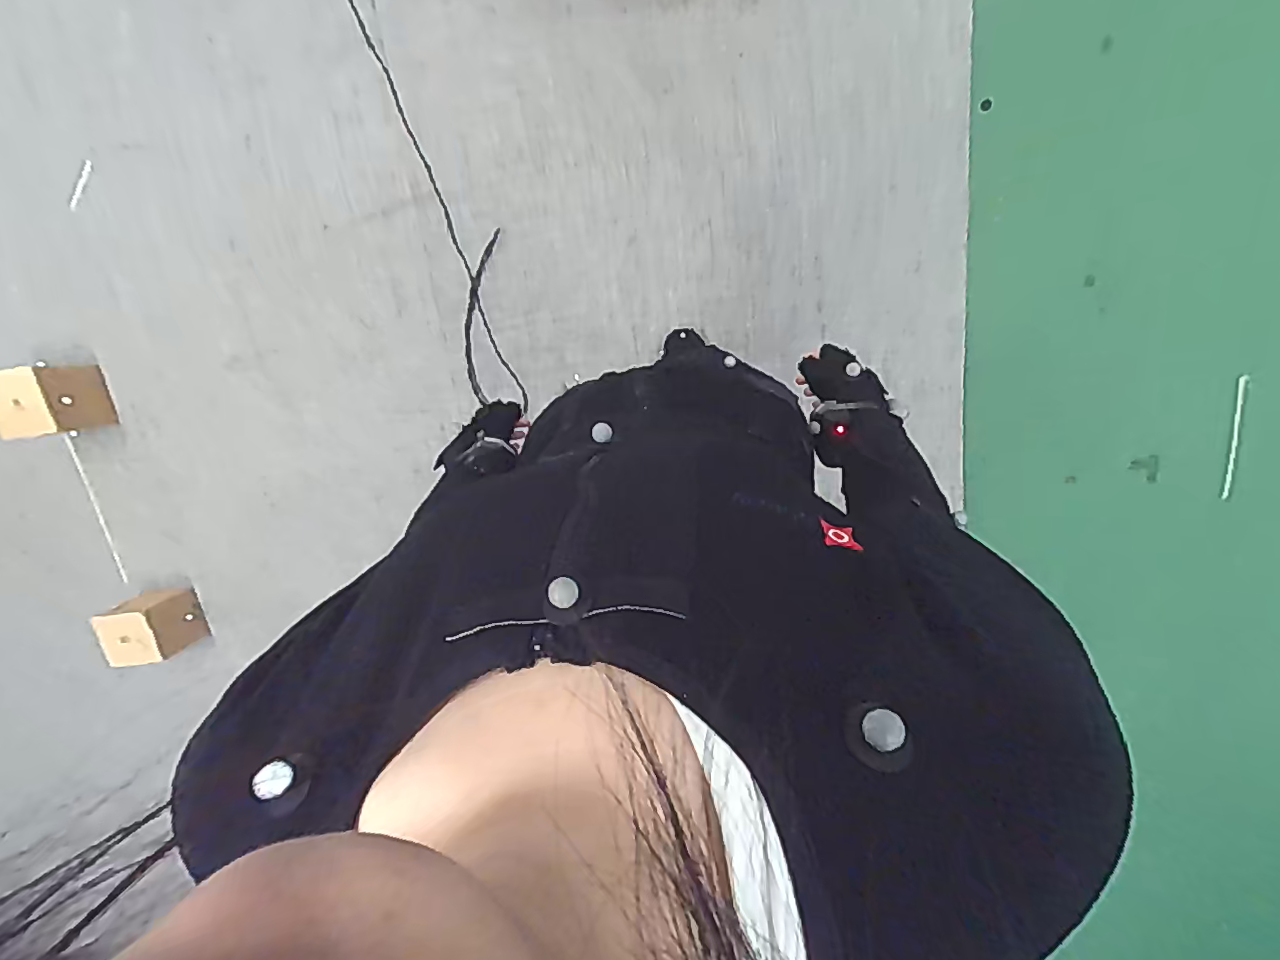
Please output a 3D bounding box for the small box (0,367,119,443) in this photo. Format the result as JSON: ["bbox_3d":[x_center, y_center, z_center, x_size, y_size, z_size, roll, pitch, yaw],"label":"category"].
[{"bbox_3d":[-1.591,-0.208,1.464,0.168,0.176,0.179,-8,105,5],"label":"small box"}]

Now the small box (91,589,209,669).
[{"bbox_3d":[-1.469,0.445,1.632,0.179,0.176,0.168,-8,105,6],"label":"small box"}]
